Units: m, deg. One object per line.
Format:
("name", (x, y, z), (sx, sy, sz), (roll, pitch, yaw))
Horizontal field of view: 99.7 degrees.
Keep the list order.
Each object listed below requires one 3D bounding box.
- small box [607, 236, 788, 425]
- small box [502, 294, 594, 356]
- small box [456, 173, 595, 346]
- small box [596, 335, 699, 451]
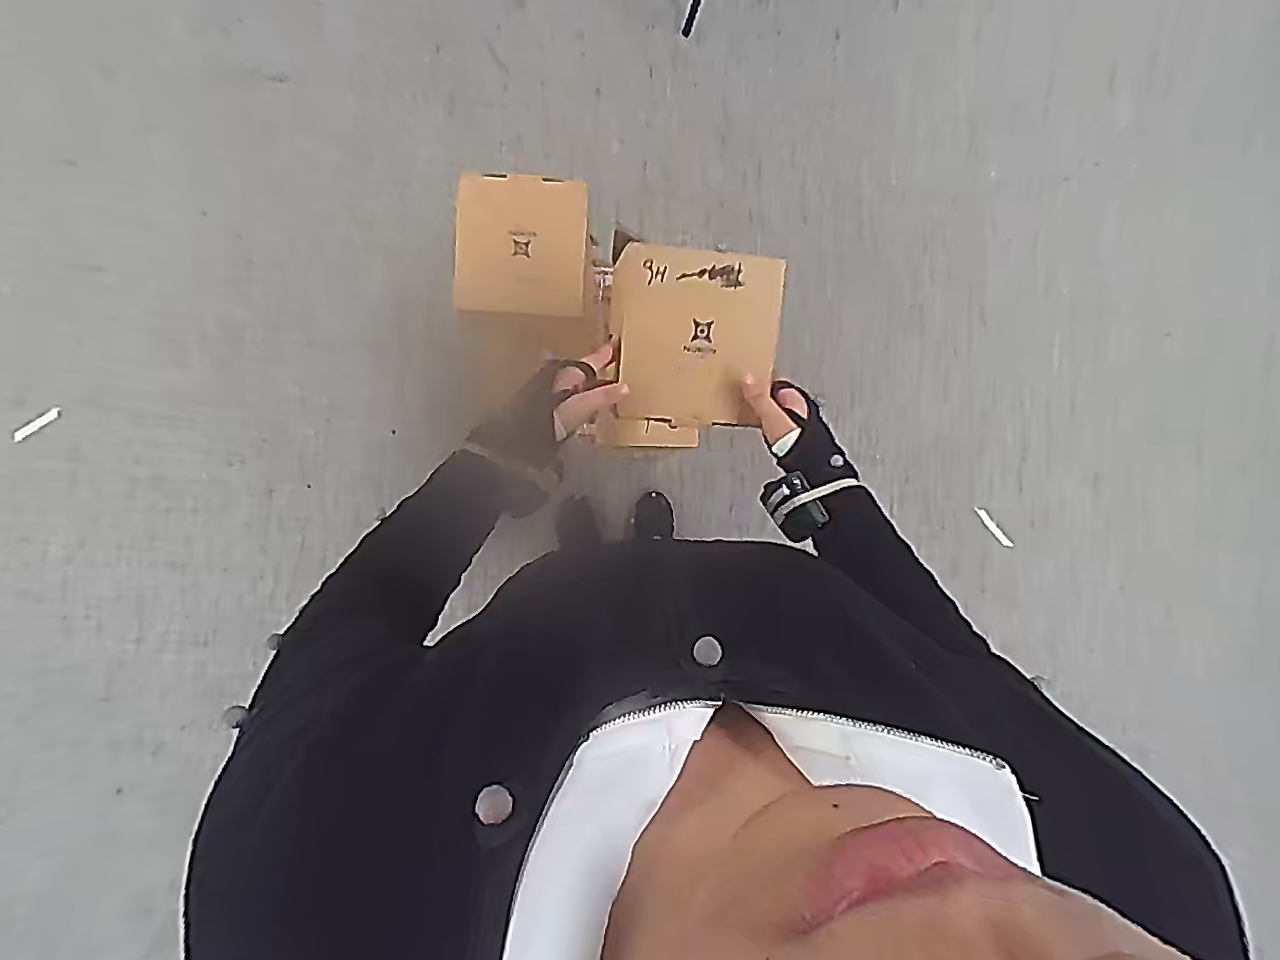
("small box", (0.051, -0.166, 0.626), (0.168, 0.176, 0.179), (3, 104, -8))
("small box", (-0.166, -0.323, 0.928), (0.168, 0.176, 0.179), (3, 91, -3))
("small box", (-0.152, -0.300, 0.767), (0.168, 0.176, 0.179), (2, 92, -2))
("small box", (0.009, -0.142, 0.943), (0.168, 0.176, 0.179), (1, 92, -5))
